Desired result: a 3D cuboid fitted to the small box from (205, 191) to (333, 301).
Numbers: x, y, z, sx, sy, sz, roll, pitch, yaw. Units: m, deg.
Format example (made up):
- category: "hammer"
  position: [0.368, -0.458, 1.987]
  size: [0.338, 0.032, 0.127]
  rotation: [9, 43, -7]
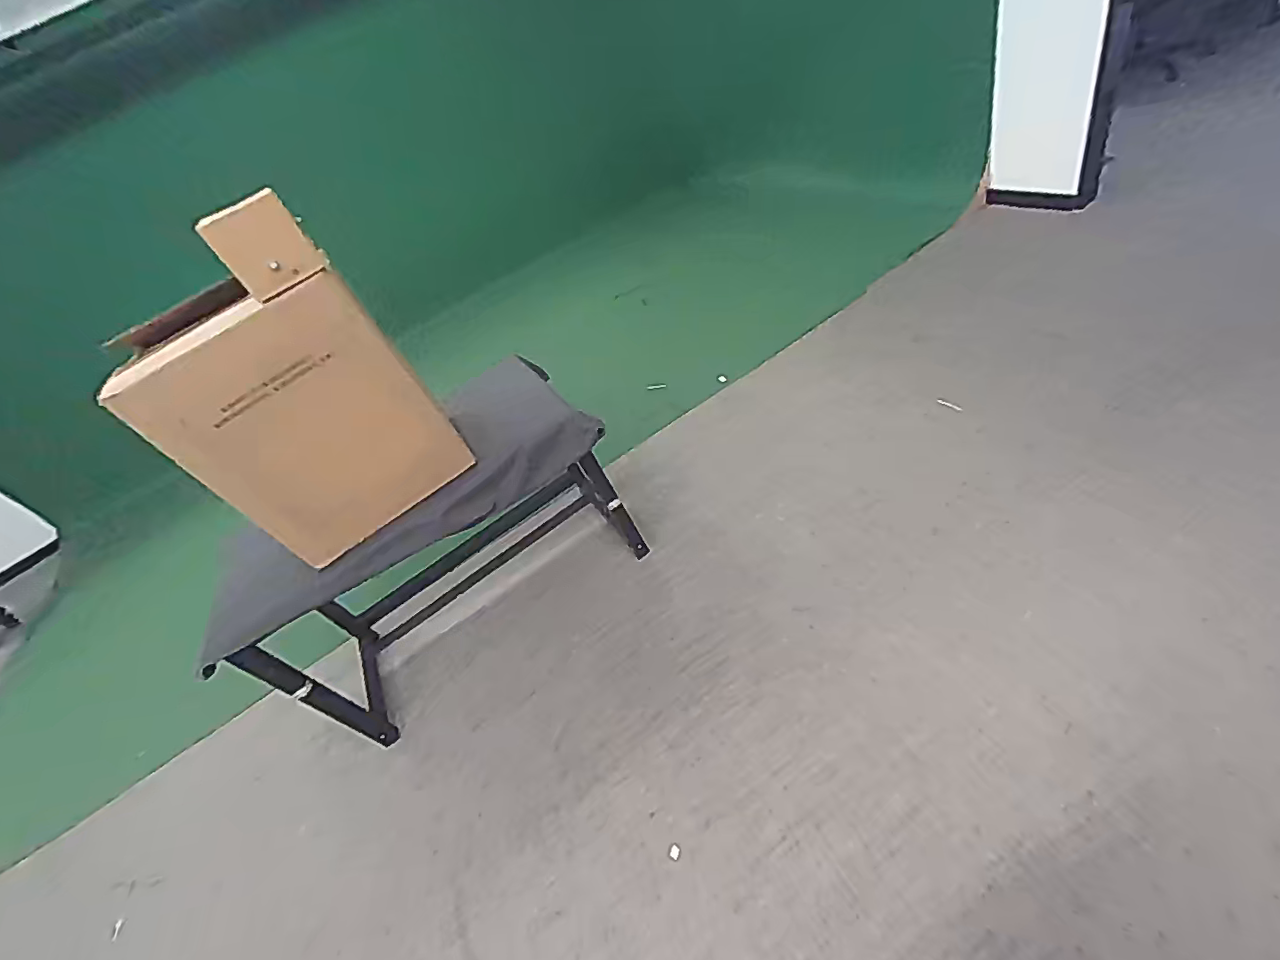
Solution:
- category: "small box"
  position: [-0.827, -0.527, 1.220]
  size: [0.168, 0.176, 0.179]
  rotation: [-36, 42, -11]
